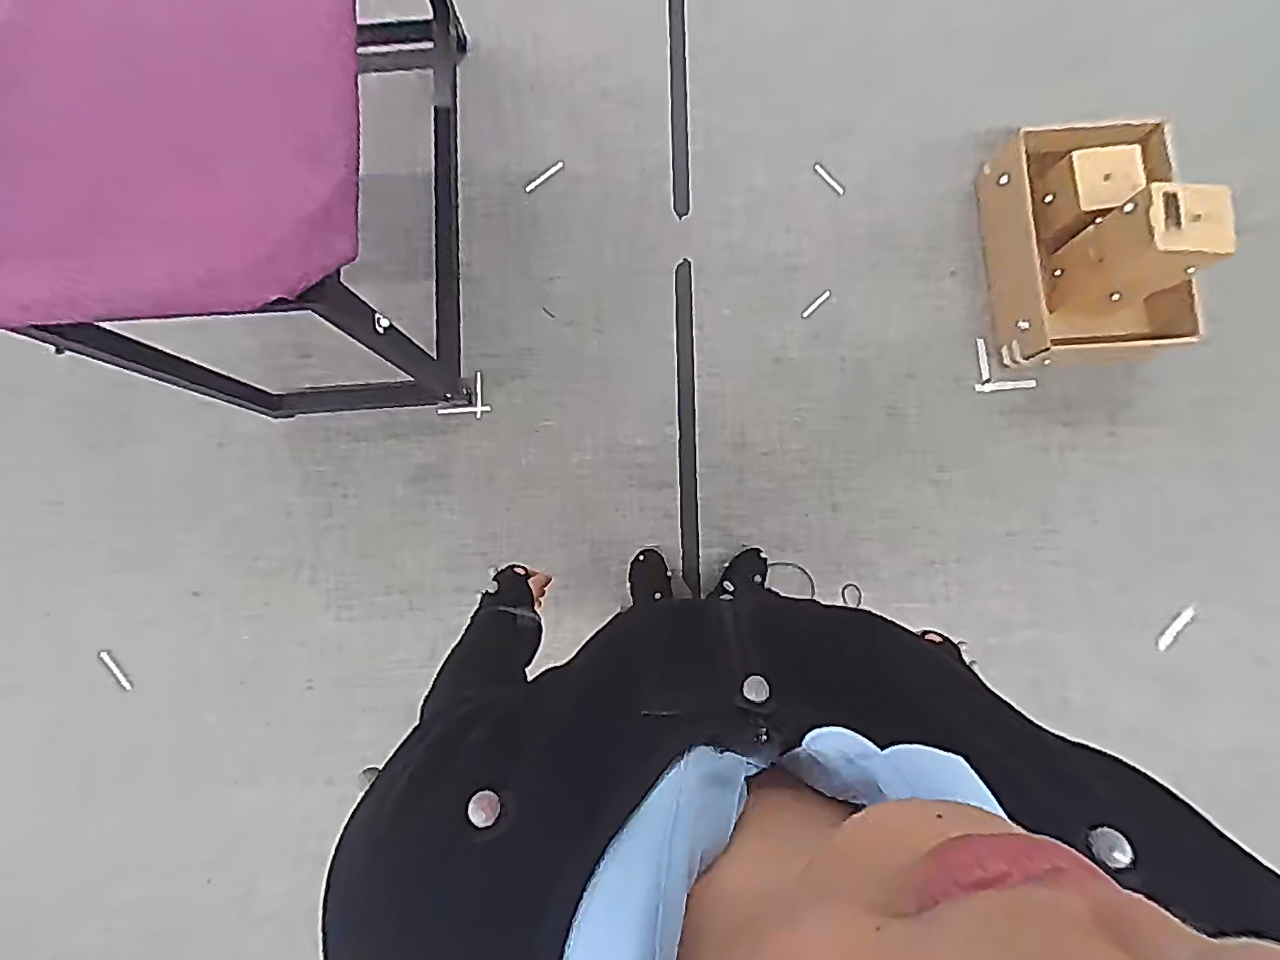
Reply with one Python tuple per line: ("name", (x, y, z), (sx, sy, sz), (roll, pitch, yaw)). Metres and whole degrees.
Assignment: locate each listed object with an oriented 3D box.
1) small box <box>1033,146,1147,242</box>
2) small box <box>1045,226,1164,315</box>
("small box", (1.208, -0.769, 1.470), (0.179, 0.176, 0.168), (-4, 85, 1))
("small box", (1.239, -0.556, 1.452), (0.179, 0.176, 0.168), (2, 82, 2))
